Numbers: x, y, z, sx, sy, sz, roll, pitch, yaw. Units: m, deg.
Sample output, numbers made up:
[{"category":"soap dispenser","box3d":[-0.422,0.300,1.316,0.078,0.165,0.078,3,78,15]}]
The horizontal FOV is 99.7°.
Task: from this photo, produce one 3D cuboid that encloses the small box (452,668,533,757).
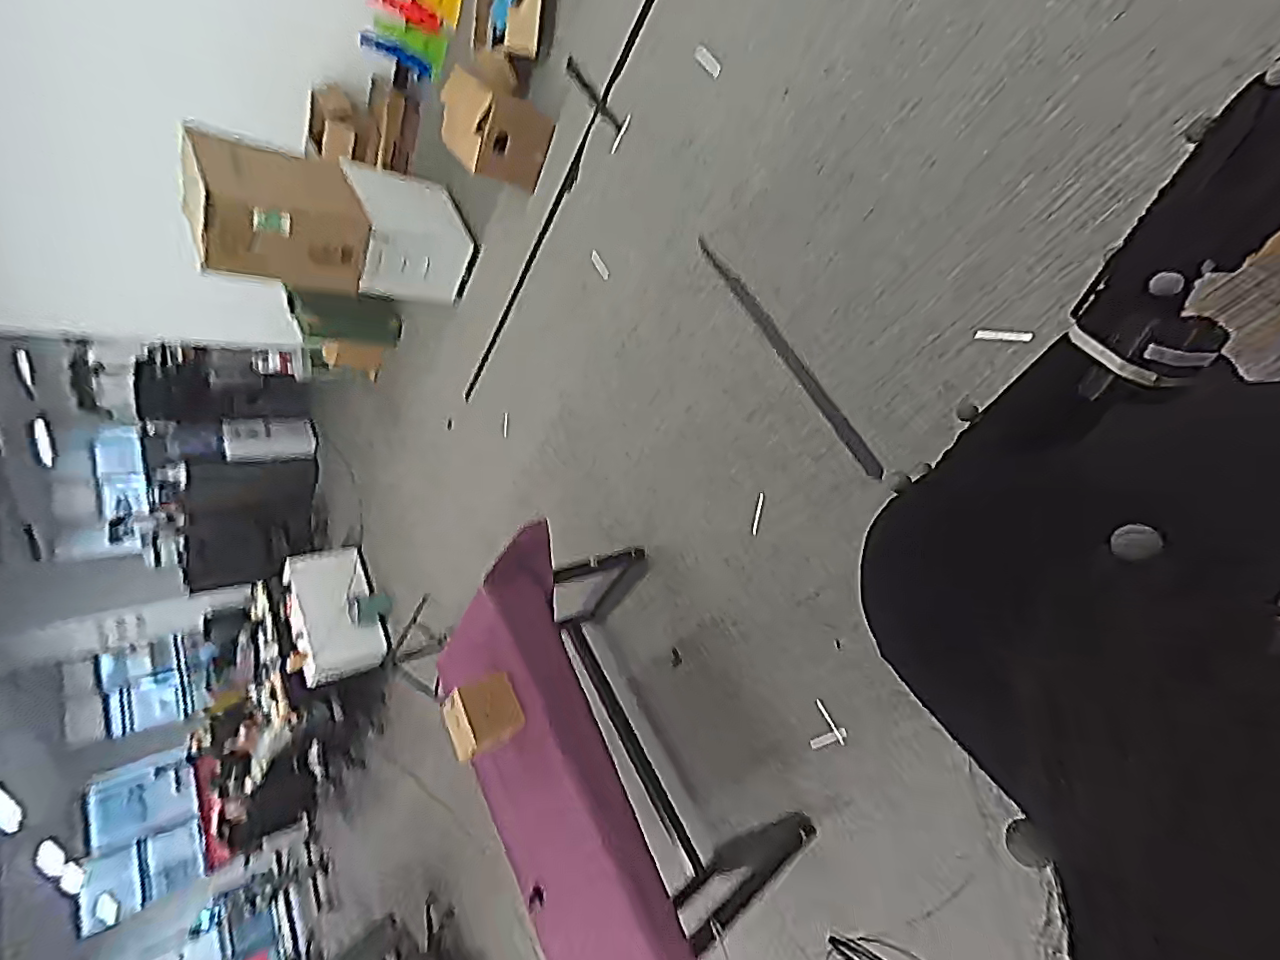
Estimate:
[{"category":"small box","box3d":[-0.459,0.723,1.693,0.179,0.176,0.168,57,132,23]}]
